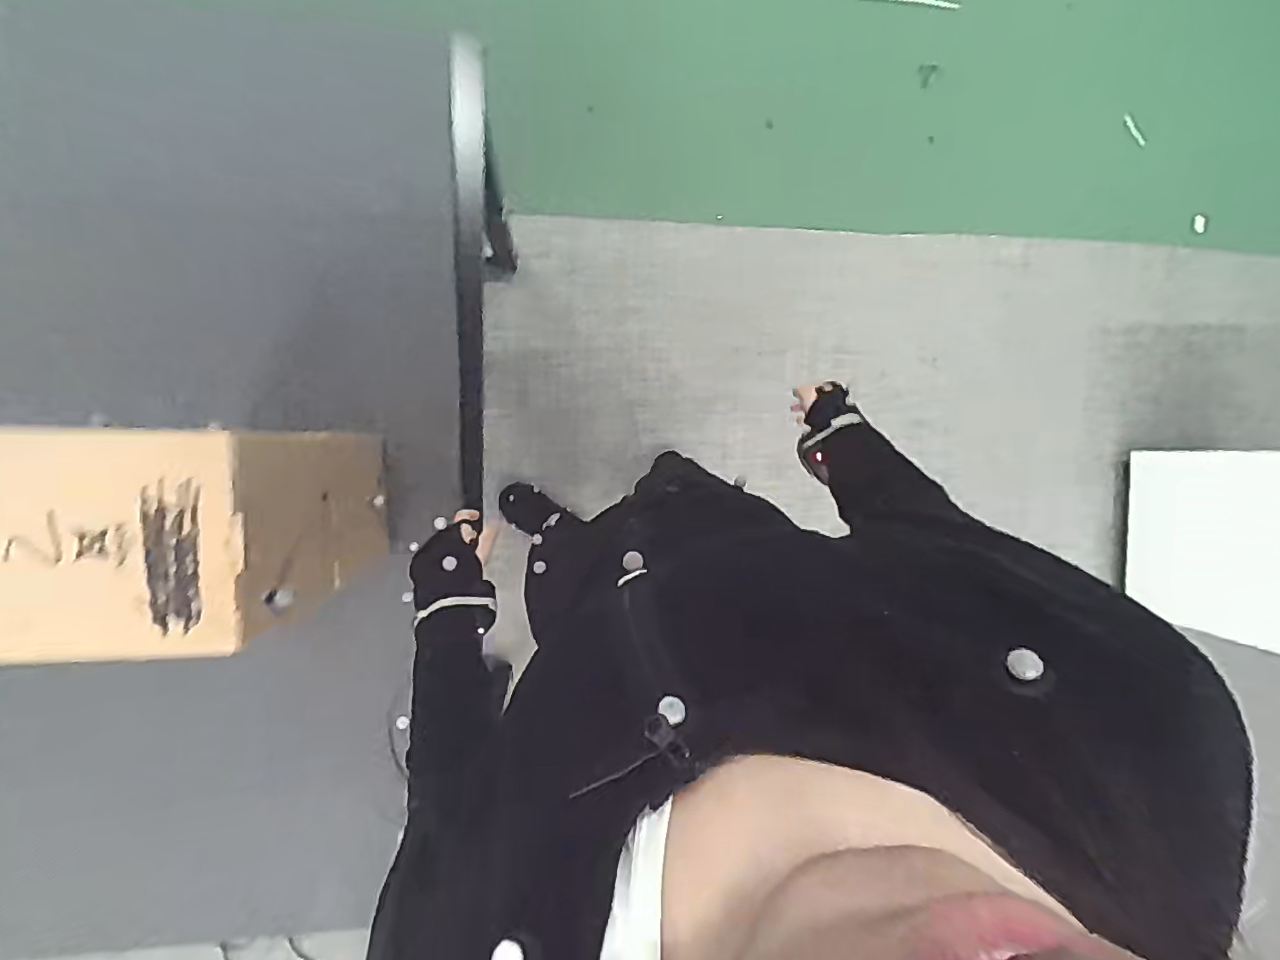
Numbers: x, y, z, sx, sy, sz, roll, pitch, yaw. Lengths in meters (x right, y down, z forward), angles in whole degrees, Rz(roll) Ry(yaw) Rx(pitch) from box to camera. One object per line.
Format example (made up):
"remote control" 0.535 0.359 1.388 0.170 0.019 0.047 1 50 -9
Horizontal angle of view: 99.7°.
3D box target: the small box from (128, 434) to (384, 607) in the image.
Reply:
"small box" -0.413 0.037 0.611 0.179 0.176 0.168 -3 93 -8
